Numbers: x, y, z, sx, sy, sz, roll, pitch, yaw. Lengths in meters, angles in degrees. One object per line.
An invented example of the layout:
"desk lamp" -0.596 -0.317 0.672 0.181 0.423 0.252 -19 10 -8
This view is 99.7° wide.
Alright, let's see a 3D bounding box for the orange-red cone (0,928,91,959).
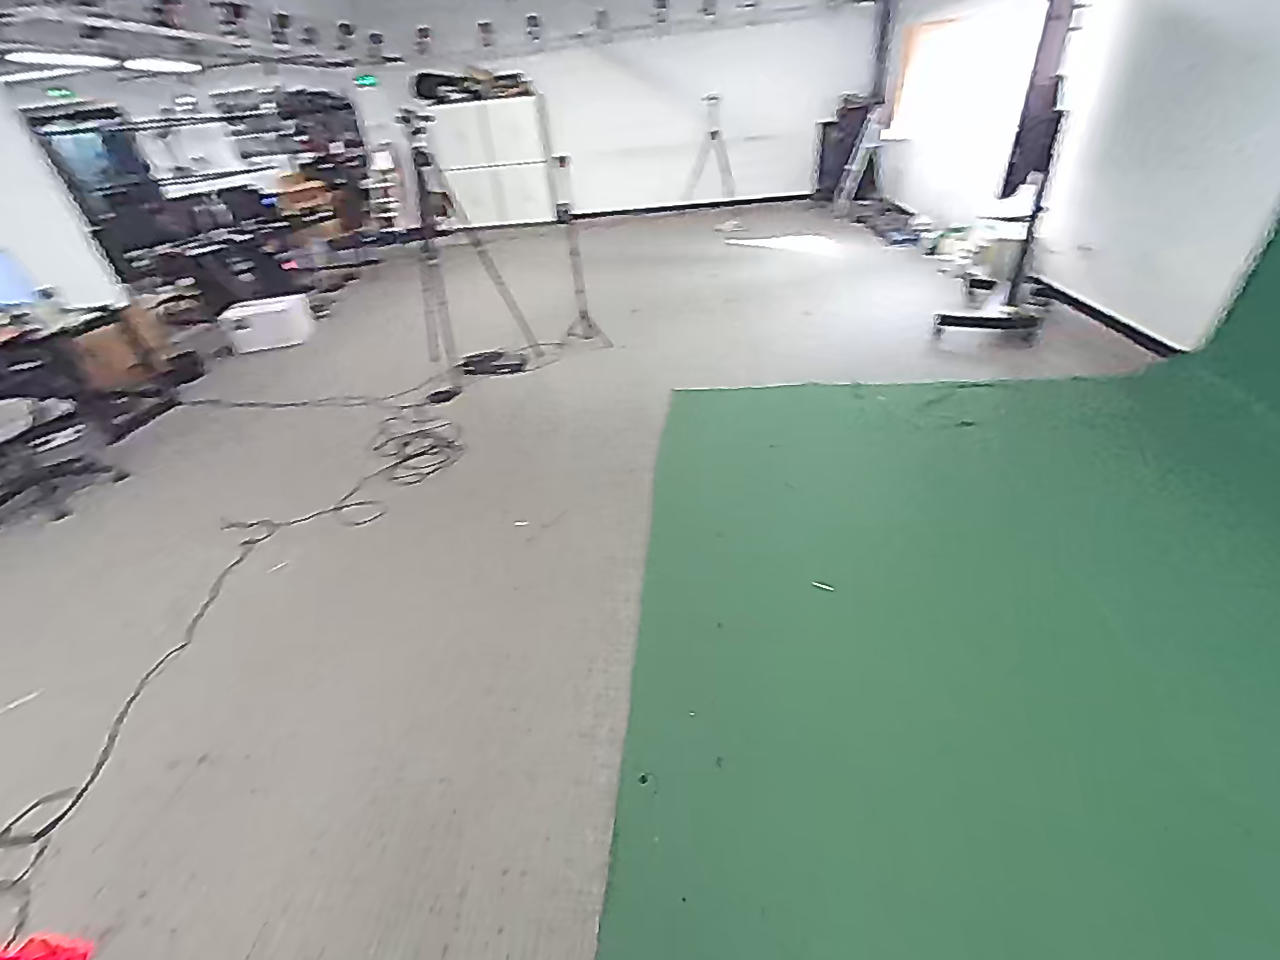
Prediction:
"orange-red cone" -1.439 1.037 1.152 0.199 0.360 0.198 3 37 11
